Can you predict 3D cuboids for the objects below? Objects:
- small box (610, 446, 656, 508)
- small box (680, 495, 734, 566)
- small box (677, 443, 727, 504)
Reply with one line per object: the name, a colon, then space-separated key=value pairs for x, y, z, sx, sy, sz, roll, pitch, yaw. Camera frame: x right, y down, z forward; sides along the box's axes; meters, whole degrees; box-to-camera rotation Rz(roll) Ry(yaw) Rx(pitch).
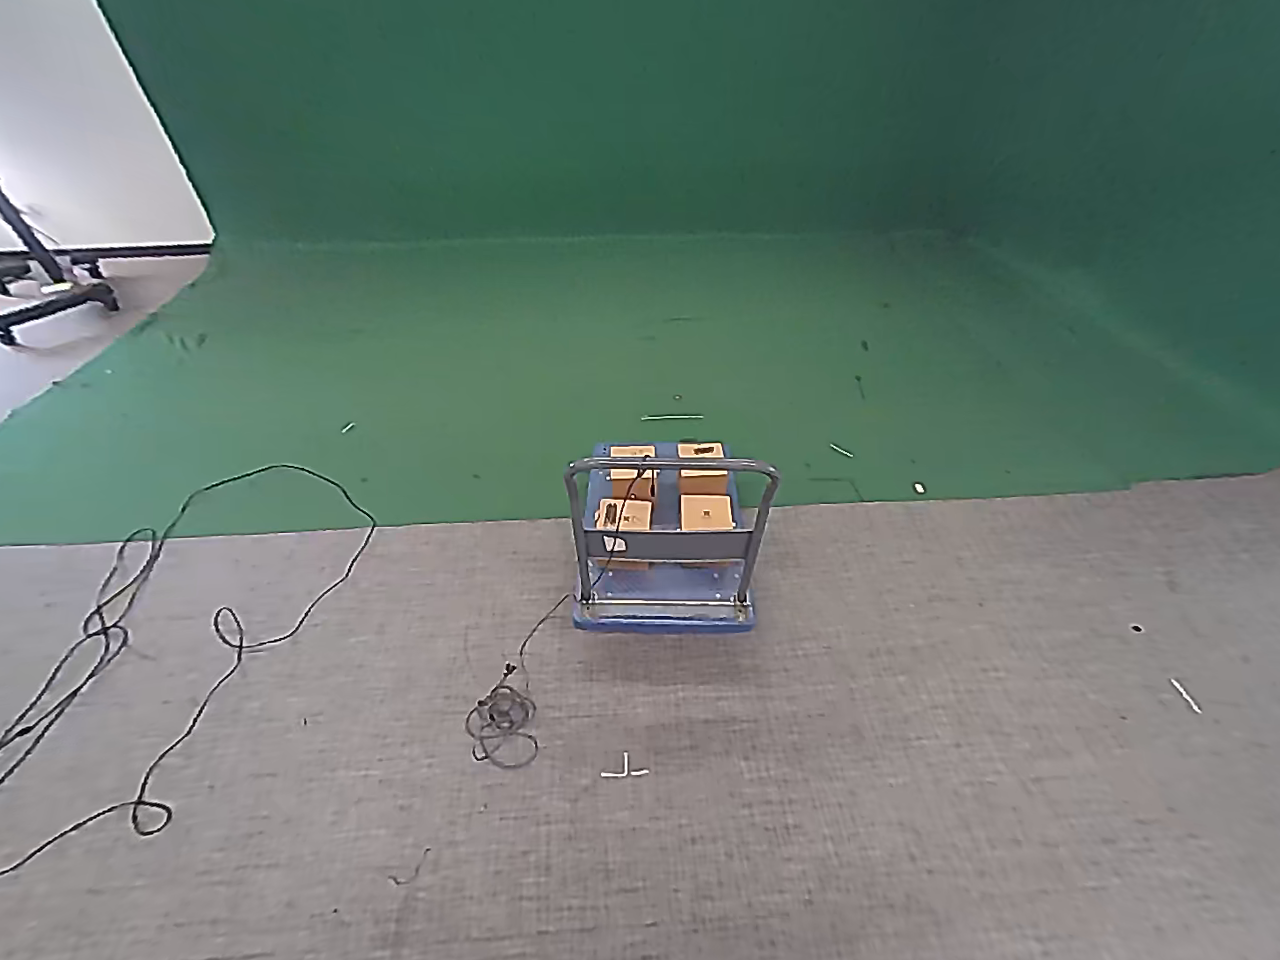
small box: x=-0.024 y=-0.007 z=2.021 sx=0.168 sy=0.176 sz=0.179 roll=-2 pitch=44 yaw=-1
small box: x=0.221 y=0.171 z=1.833 sx=0.168 sy=0.176 sz=0.179 roll=1 pitch=45 yaw=2
small box: x=0.228 y=-0.018 z=2.027 sx=0.168 sy=0.176 sz=0.179 roll=-3 pitch=45 yaw=0
